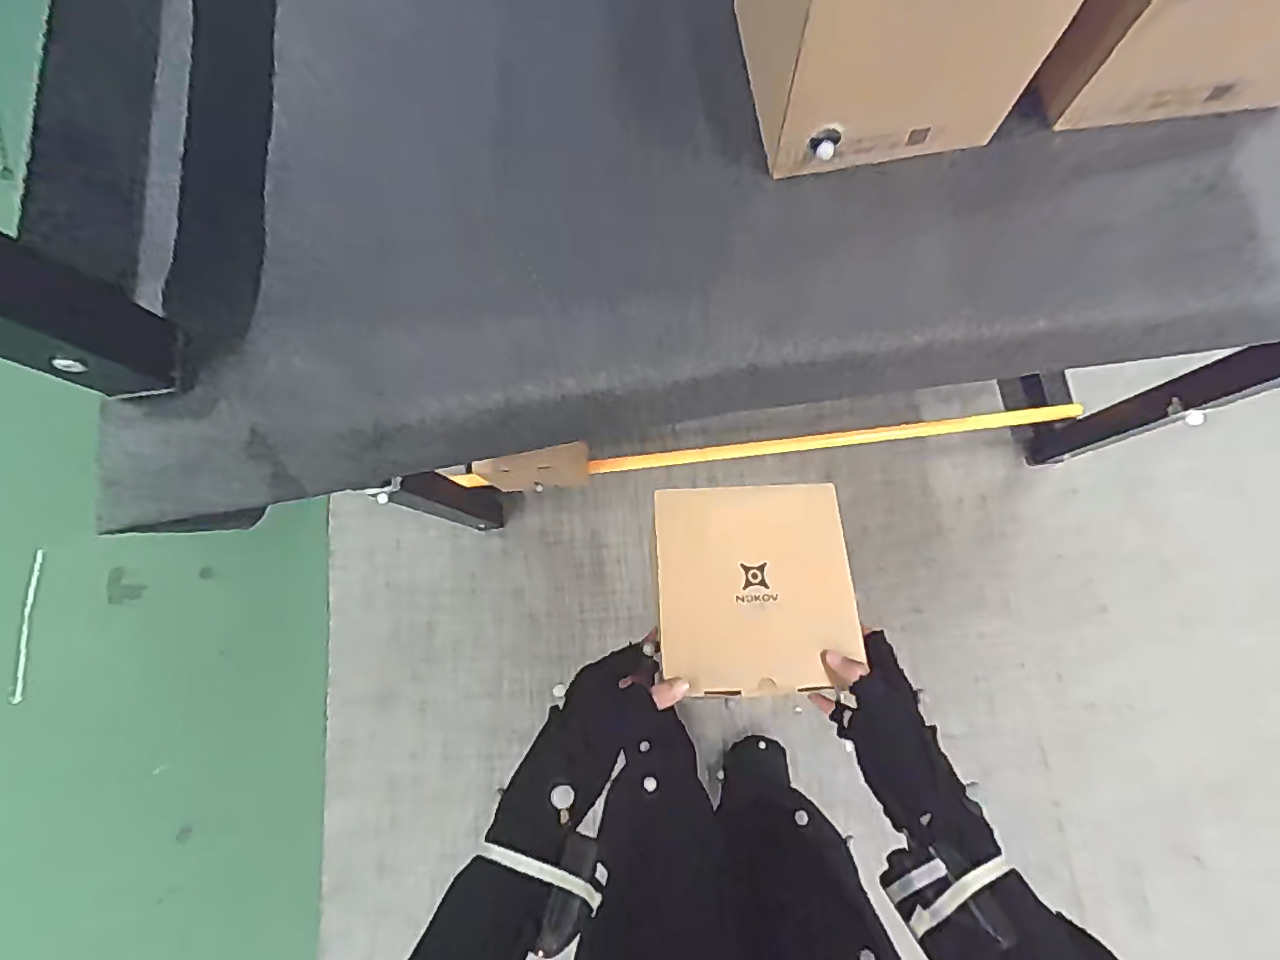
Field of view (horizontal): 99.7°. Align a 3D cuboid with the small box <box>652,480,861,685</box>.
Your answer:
[{"bbox_3d":[0.099,0.112,0.549,0.168,0.176,0.179,-2,69,0],"label":"small box"}]

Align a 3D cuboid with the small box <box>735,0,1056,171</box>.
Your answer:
[{"bbox_3d":[0.164,-0.342,0.366,0.168,0.176,0.179,-8,76,3],"label":"small box"}]
